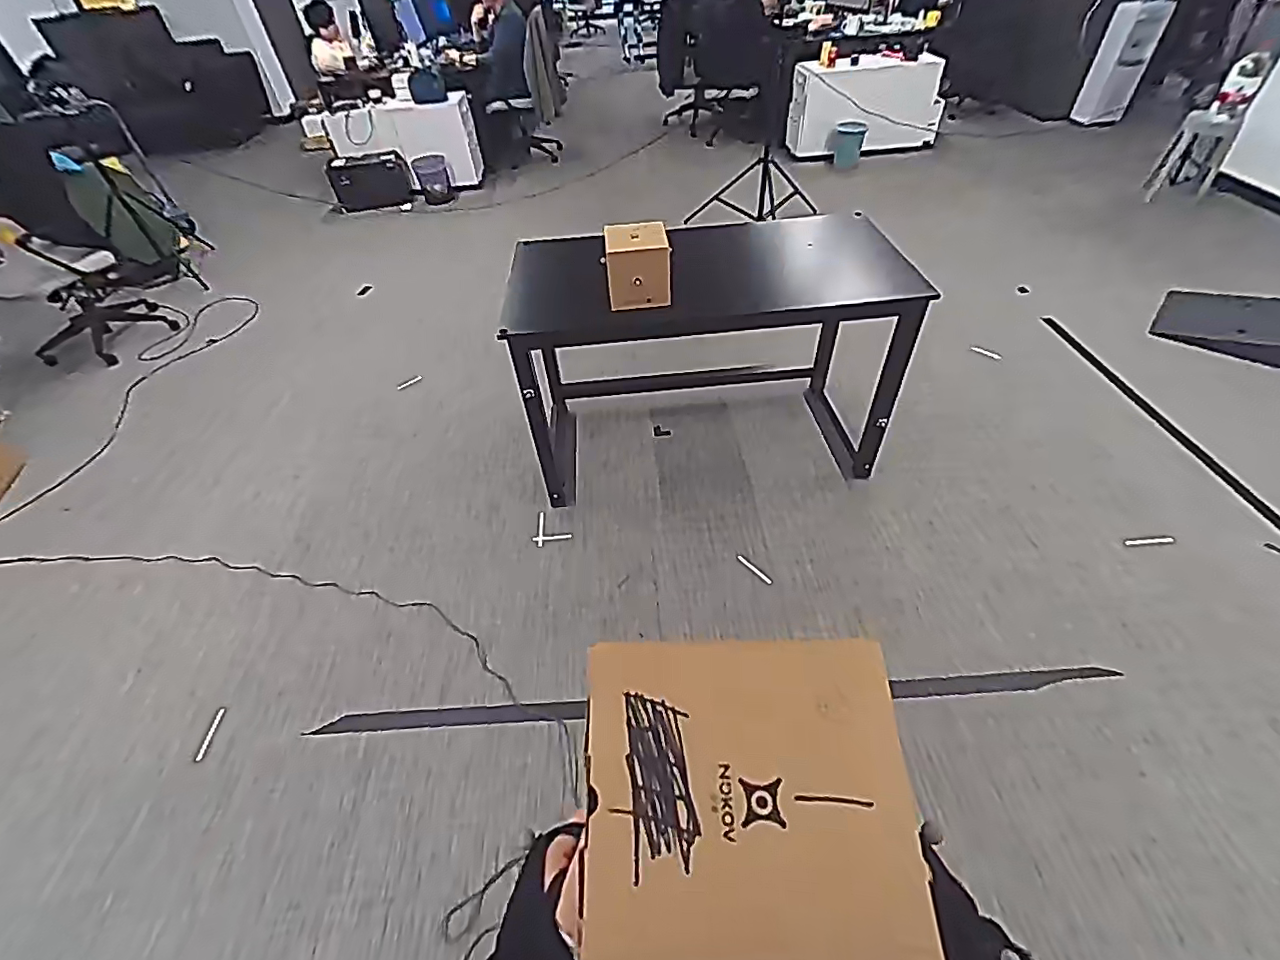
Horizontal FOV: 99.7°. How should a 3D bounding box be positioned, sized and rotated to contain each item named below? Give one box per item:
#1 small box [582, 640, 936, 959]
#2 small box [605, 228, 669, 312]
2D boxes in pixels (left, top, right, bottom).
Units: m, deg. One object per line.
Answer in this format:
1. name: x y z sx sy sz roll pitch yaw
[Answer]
1. small box: 0.063 0.210 0.370 0.179 0.176 0.168 -2 63 3
2. small box: -0.008 -0.586 1.525 0.168 0.176 0.179 -5 45 -1
